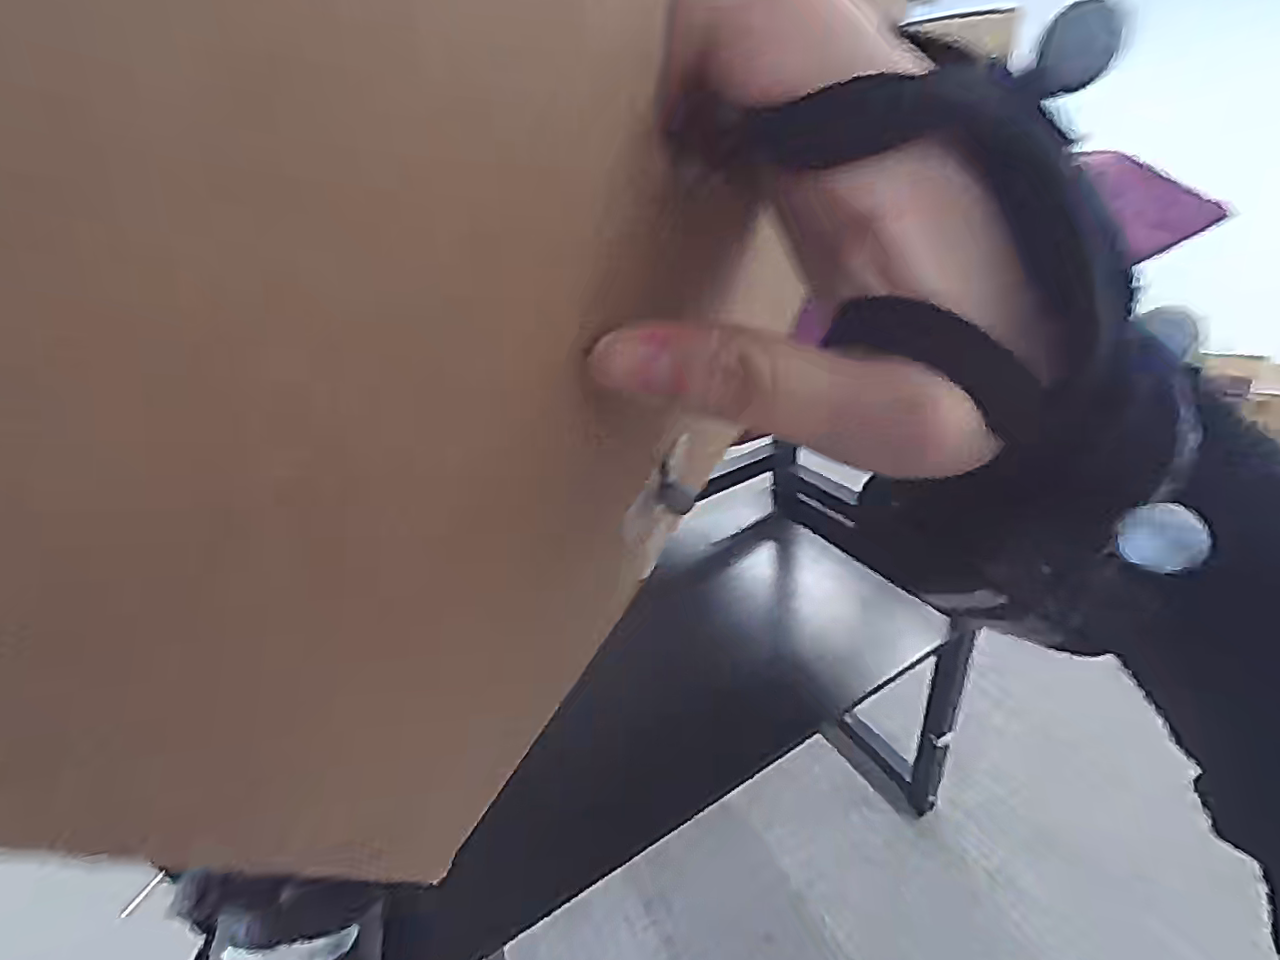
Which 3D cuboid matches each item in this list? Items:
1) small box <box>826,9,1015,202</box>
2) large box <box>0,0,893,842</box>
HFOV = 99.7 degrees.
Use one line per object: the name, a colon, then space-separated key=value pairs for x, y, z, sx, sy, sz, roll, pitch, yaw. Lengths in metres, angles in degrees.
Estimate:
small box: x=0.318 y=-0.461 z=0.683 sx=0.179 sy=0.176 sz=0.168 roll=-17 pitch=31 yaw=-13
large box: x=-0.151 y=-0.135 z=0.209 sx=0.408 sy=0.320 sz=0.320 roll=27 pitch=55 yaw=15
